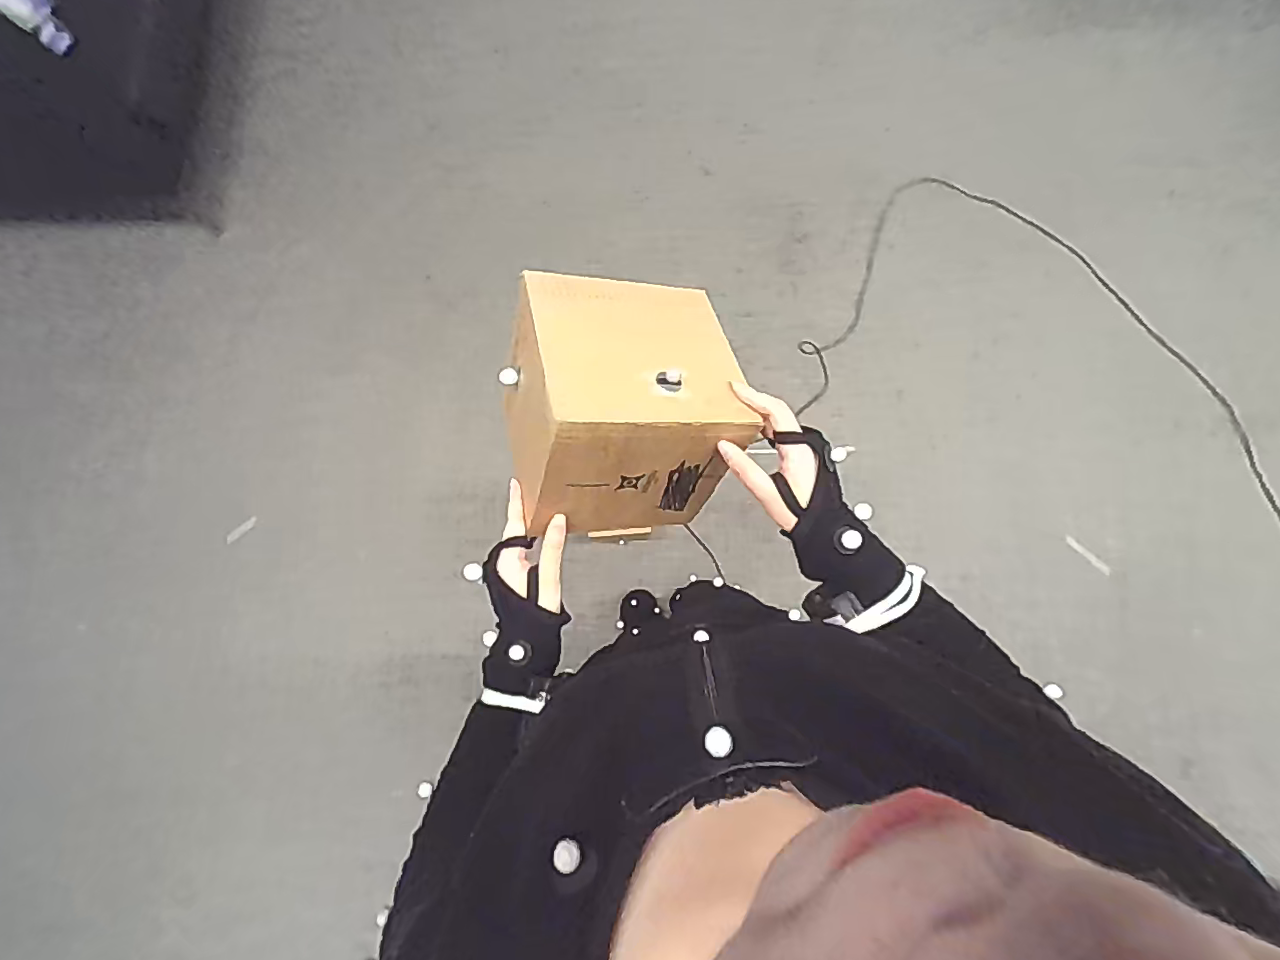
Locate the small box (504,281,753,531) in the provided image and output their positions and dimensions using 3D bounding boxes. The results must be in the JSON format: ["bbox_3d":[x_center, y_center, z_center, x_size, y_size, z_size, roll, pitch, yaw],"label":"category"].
[{"bbox_3d":[-0.026,-0.068,0.519,0.179,0.168,0.176,-2,56,-22],"label":"small box"}]
